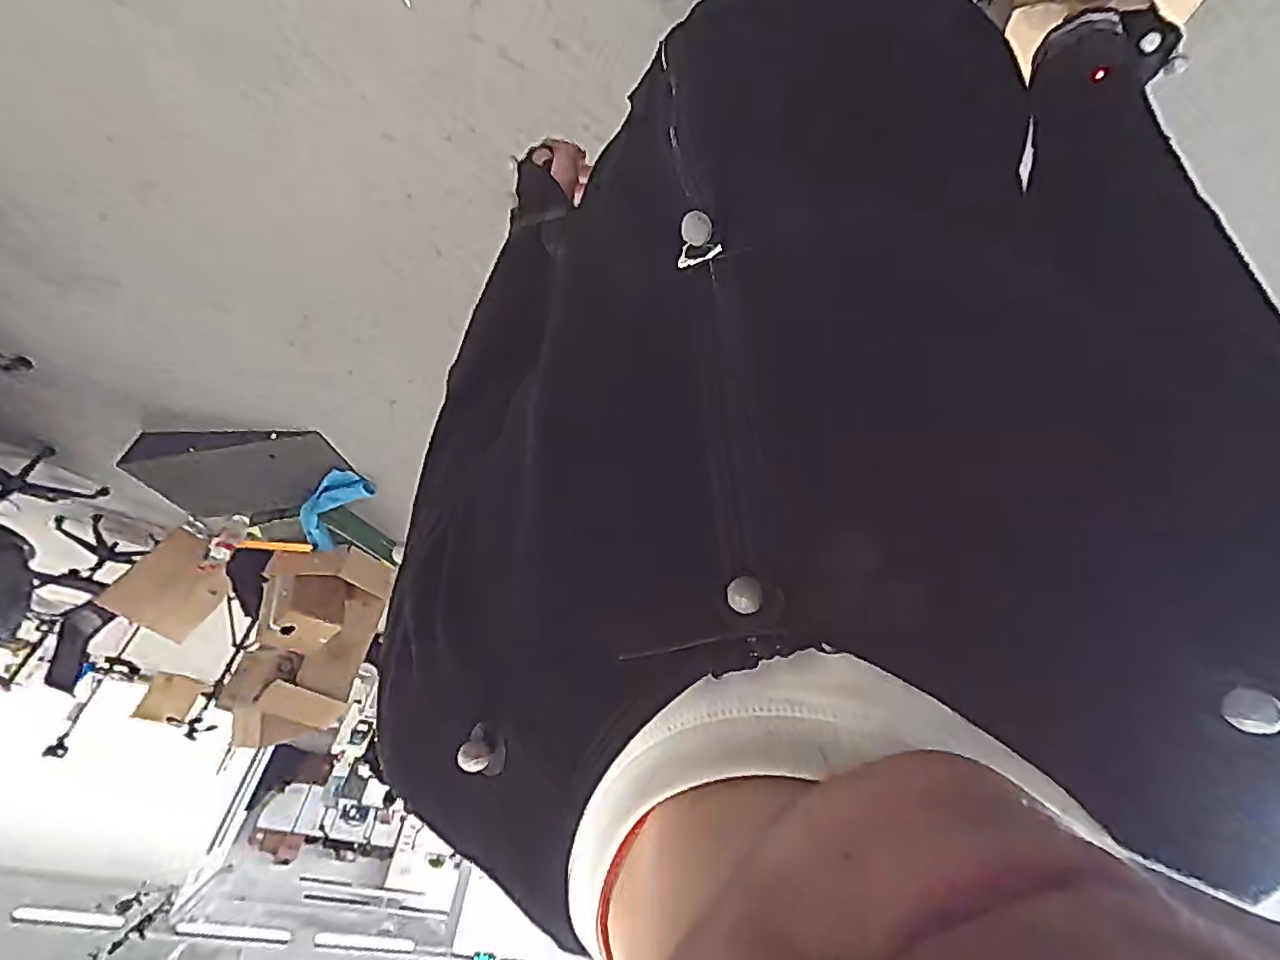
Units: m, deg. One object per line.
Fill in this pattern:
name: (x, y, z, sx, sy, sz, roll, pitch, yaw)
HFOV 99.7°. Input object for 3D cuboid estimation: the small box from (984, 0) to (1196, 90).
small box: (0.465, -0.537, 0.551, 0.168, 0.179, 0.176, 3, -174, 22)
